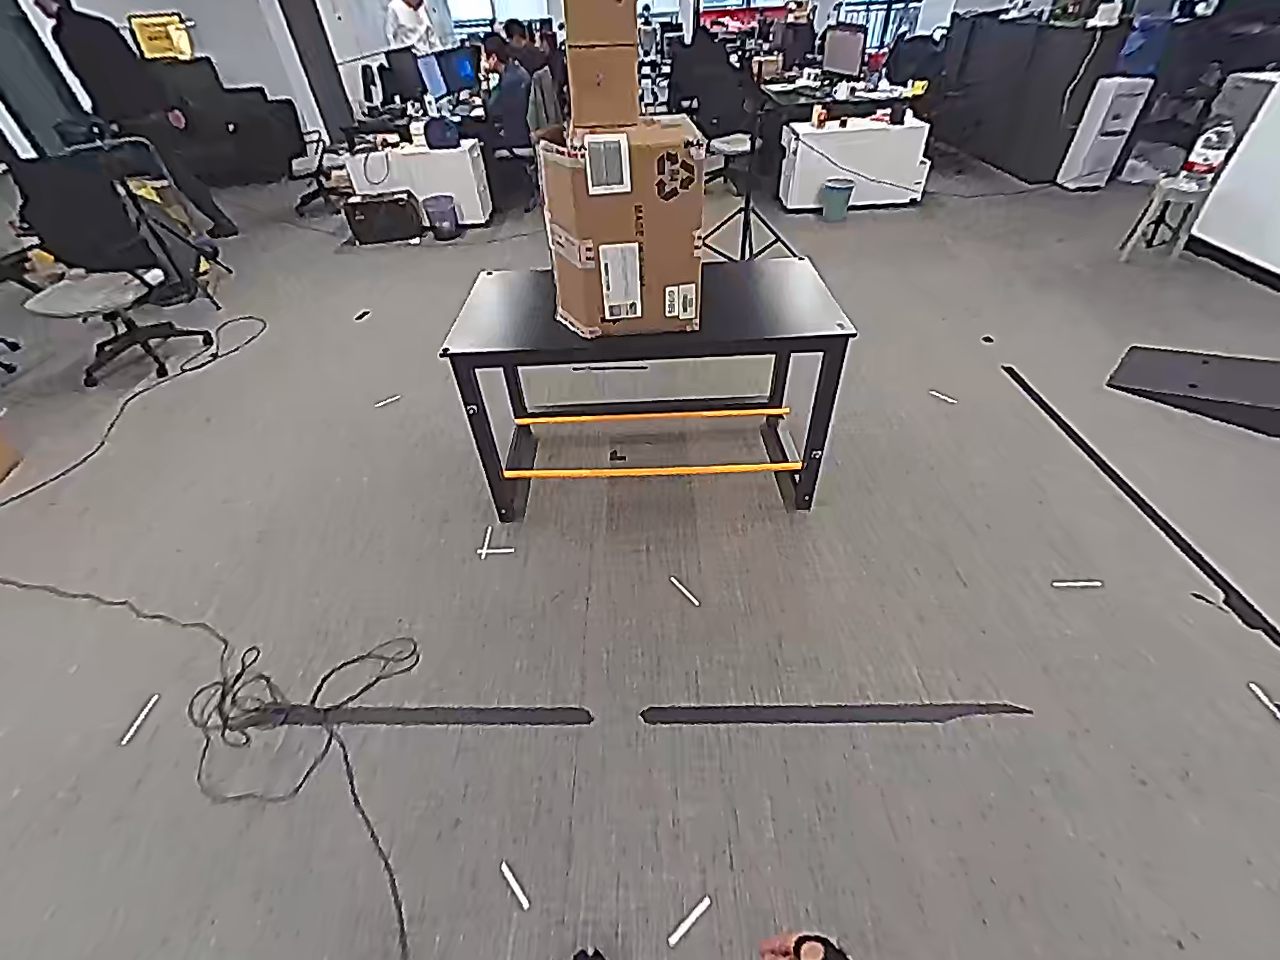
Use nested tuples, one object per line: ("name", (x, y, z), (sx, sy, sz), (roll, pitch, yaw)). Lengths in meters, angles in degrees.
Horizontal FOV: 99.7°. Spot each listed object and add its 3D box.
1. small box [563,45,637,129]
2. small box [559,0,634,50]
("small box", (-0.104, -1.038, 1.428), (0.179, 0.176, 0.168), (-4, 40, -2))
("small box", (-0.107, -1.160, 1.320), (0.179, 0.176, 0.168), (-6, 39, -4))
